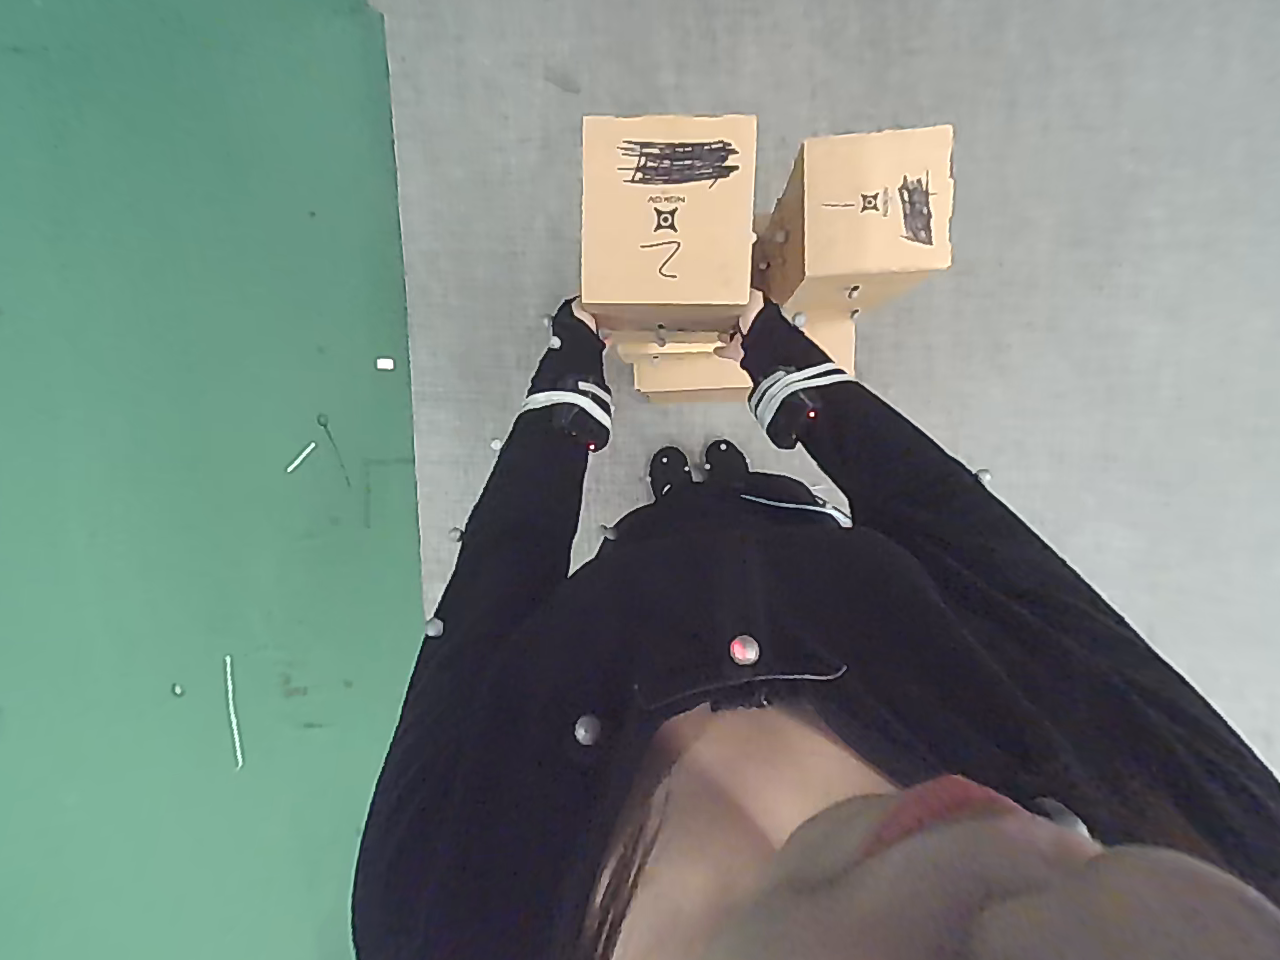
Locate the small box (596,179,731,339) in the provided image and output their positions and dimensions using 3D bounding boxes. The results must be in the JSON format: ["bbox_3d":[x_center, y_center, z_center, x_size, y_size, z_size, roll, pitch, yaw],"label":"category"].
[{"bbox_3d":[0.032,-0.297,0.759,0.168,0.176,0.179,2,97,2],"label":"small box"}]

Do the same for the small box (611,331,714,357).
[{"bbox_3d":[0.041,-0.304,0.923,0.168,0.176,0.179,0,97,3],"label":"small box"}]

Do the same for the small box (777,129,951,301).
[{"bbox_3d":[0.291,-0.346,0.736,0.179,0.176,0.168,0,96,6],"label":"small box"}]

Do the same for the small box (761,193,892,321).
[{"bbox_3d":[0.302,-0.365,0.899,0.179,0.176,0.168,-2,96,6],"label":"small box"}]
